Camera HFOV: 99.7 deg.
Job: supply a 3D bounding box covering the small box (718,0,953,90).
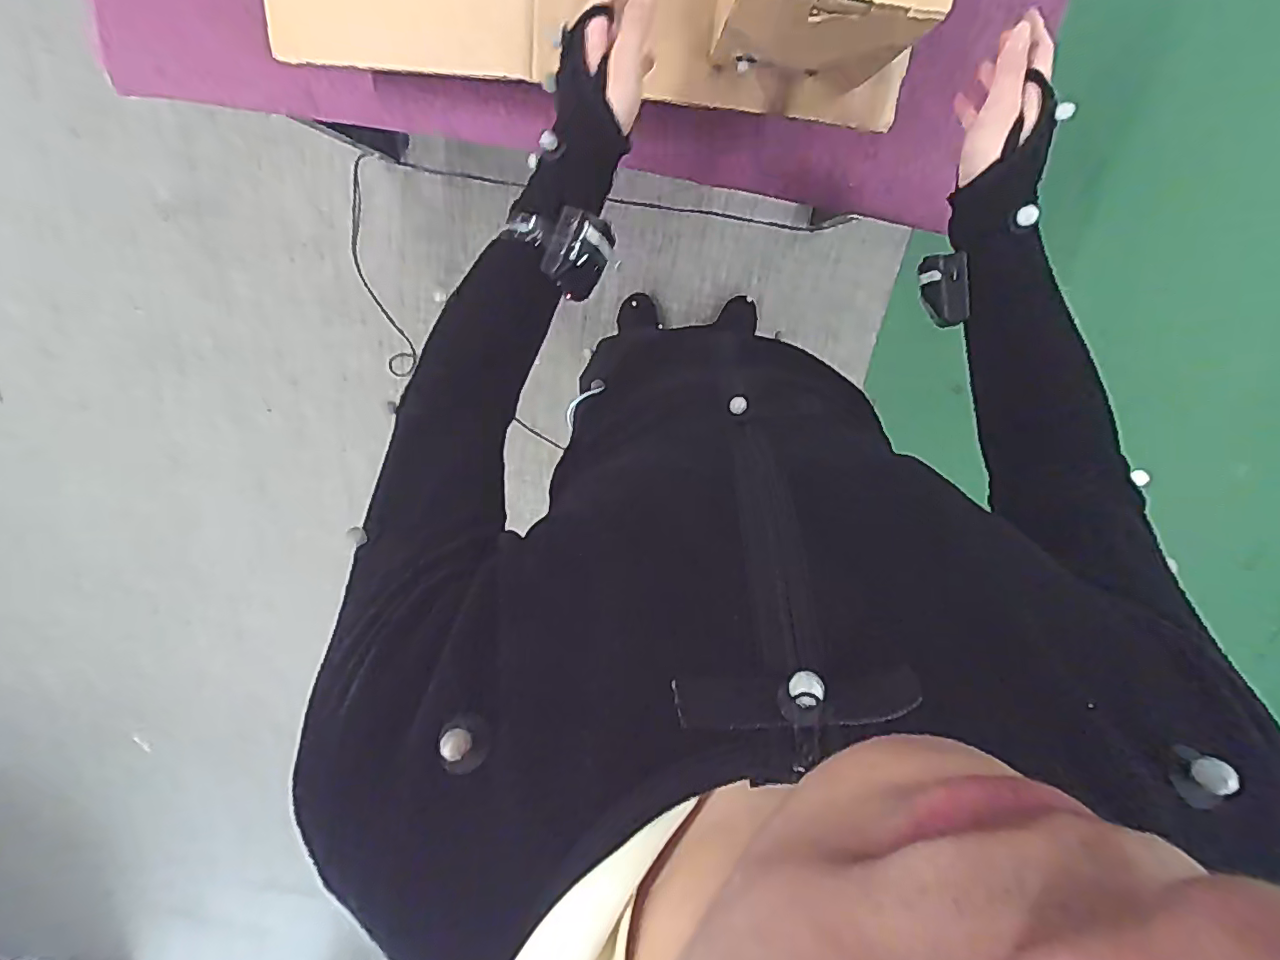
[{"bbox_3d":[0.169,-0.471,0.467,0.168,0.176,0.179,5,109,-4],"label":"small box"}]
